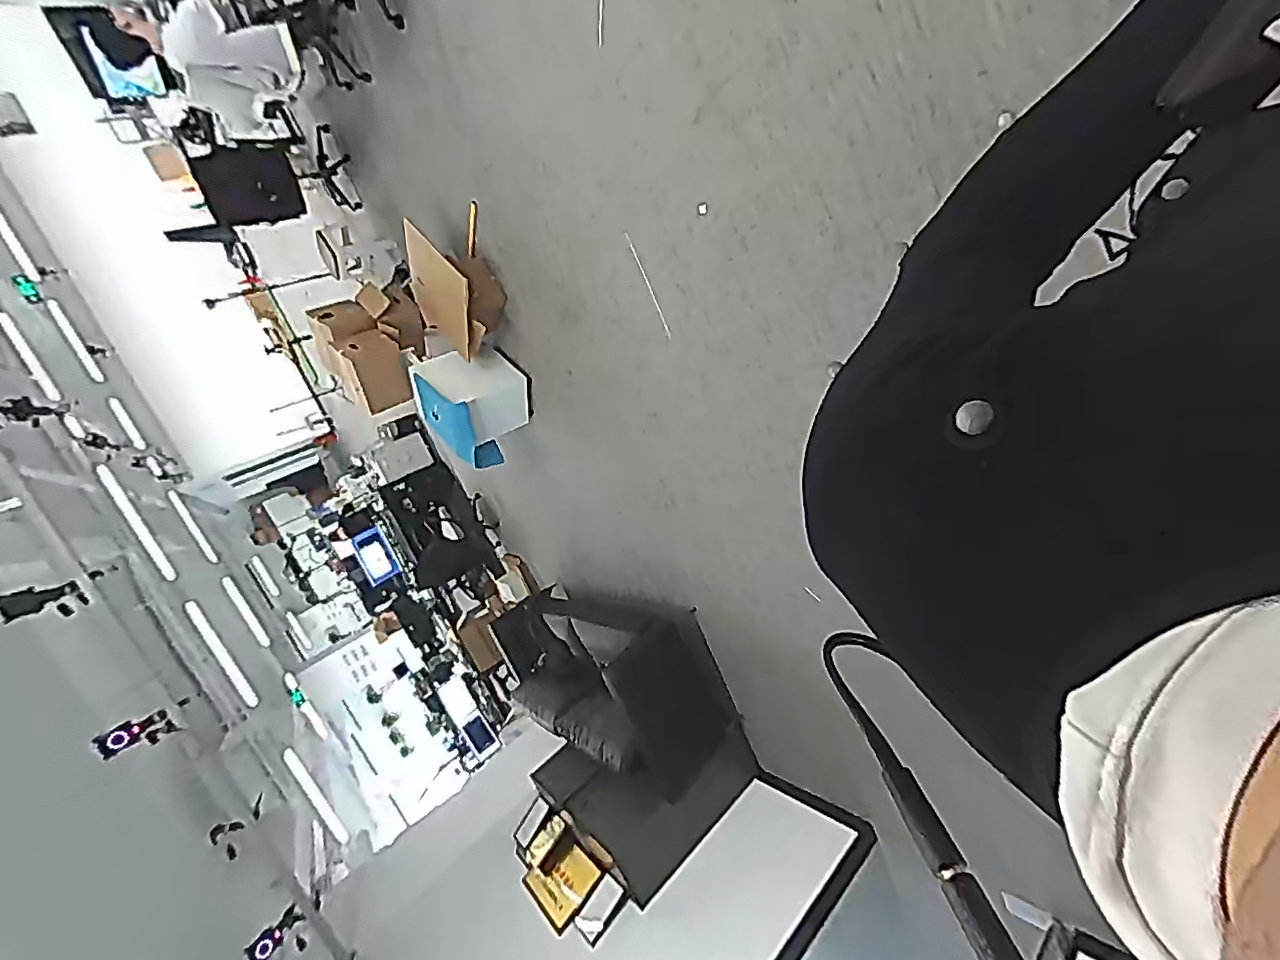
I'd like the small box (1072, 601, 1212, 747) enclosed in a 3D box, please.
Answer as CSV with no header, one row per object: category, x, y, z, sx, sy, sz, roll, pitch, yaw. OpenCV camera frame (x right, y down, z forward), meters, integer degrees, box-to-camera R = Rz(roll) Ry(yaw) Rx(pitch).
small box,0.978,0.366,1.052,0.168,0.176,0.179,2,116,54

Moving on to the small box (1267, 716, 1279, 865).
small box,1.015,0.456,0.753,0.168,0.176,0.179,-1,115,55
